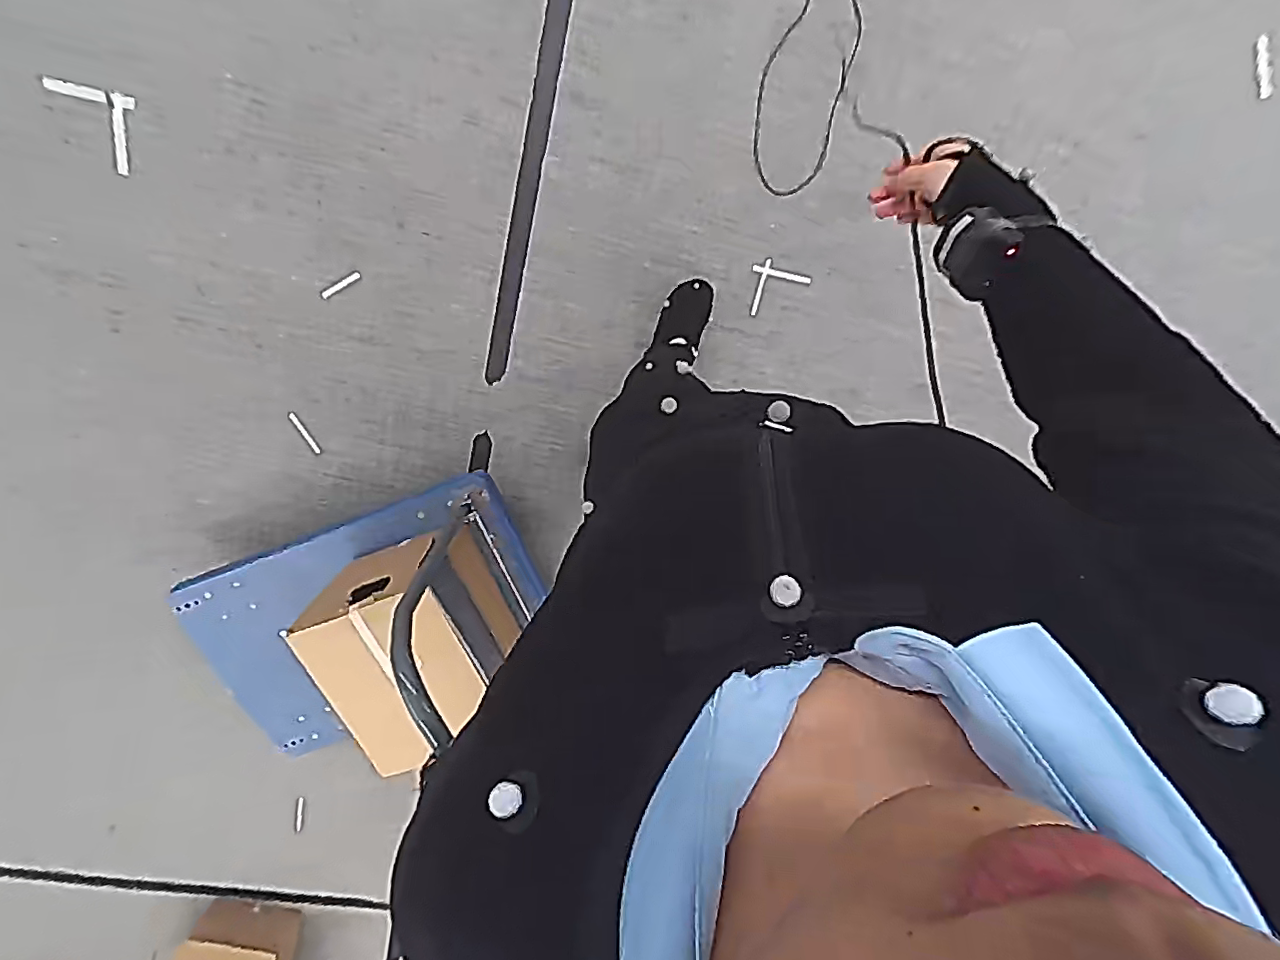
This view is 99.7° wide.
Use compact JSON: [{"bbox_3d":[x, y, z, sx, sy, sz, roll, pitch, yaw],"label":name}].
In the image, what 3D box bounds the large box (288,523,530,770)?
[{"bbox_3d":[-0.496,0.374,1.266,0.320,0.320,0.408,-21,109,3],"label":"large box"}]
